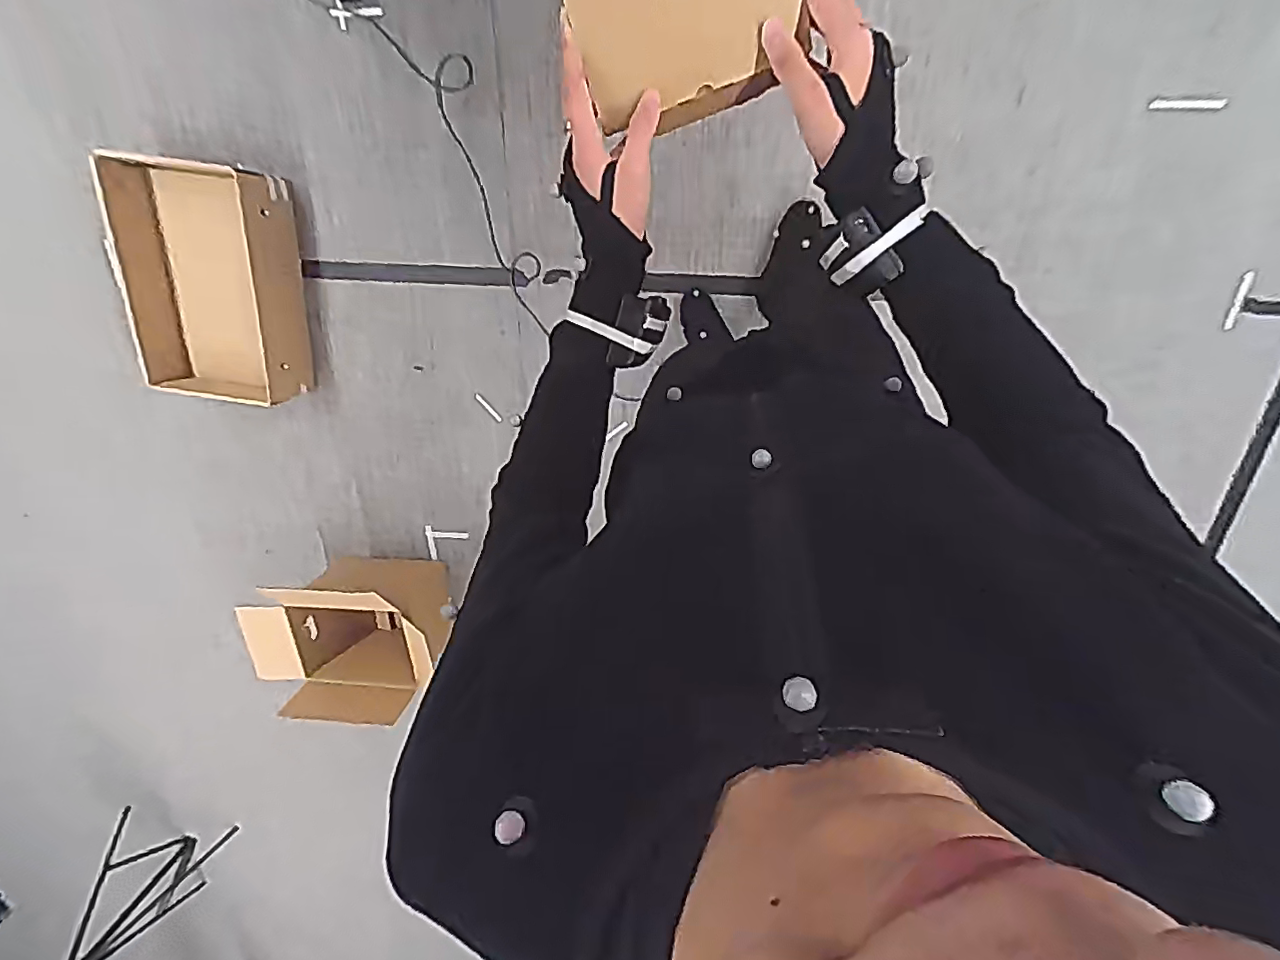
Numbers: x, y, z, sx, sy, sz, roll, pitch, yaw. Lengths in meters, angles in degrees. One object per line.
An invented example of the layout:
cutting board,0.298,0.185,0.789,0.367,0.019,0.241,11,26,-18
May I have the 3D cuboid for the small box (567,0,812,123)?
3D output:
small box,0.025,-0.409,0.424,0.168,0.176,0.179,-15,123,10
